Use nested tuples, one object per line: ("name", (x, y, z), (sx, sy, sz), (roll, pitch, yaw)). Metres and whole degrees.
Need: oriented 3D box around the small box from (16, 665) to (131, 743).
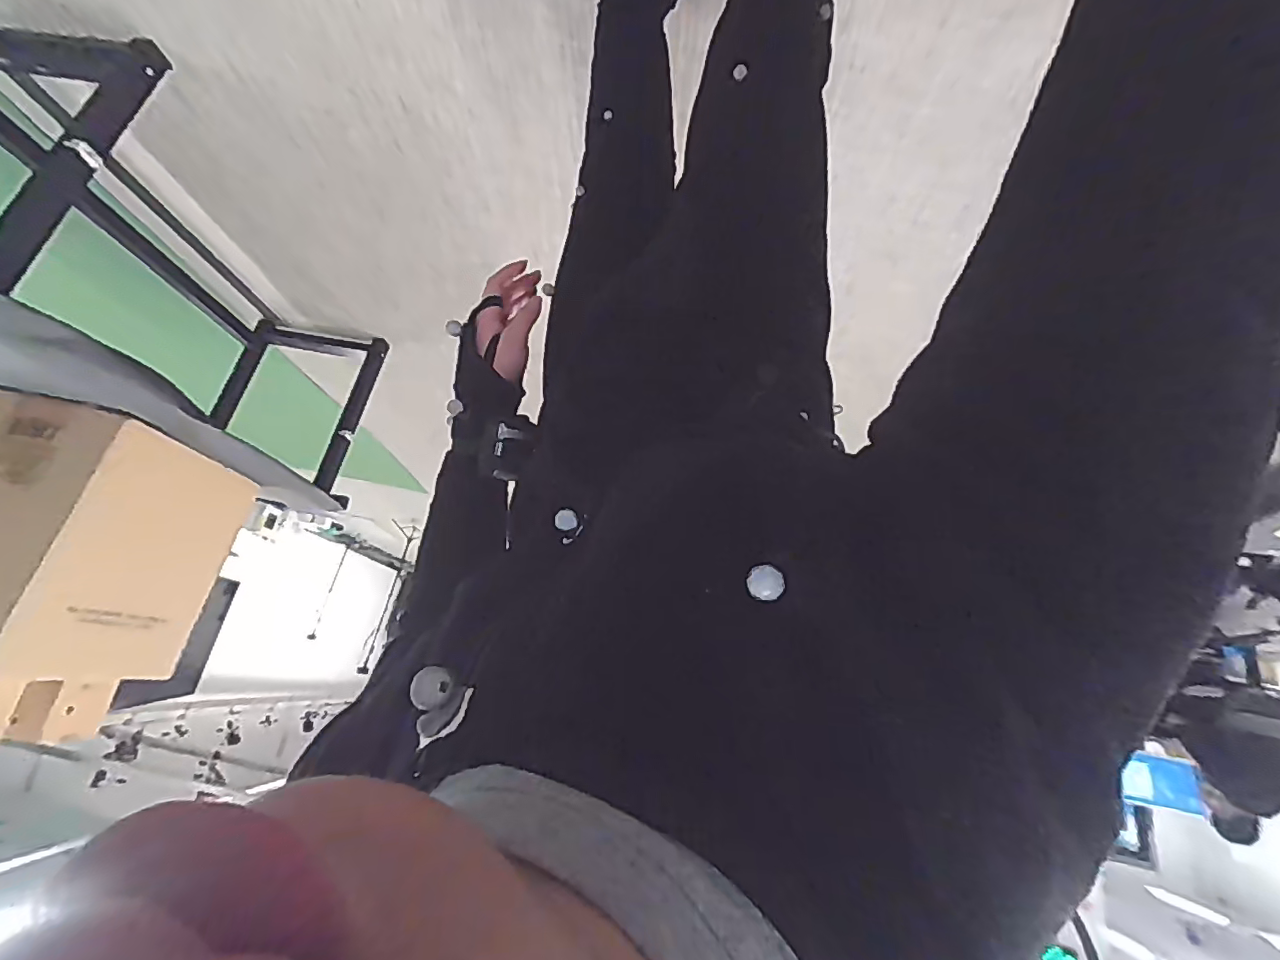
("small box", (-1.553, 0.605, 1.473), (0.179, 0.176, 0.168), (9, 158, 2))
